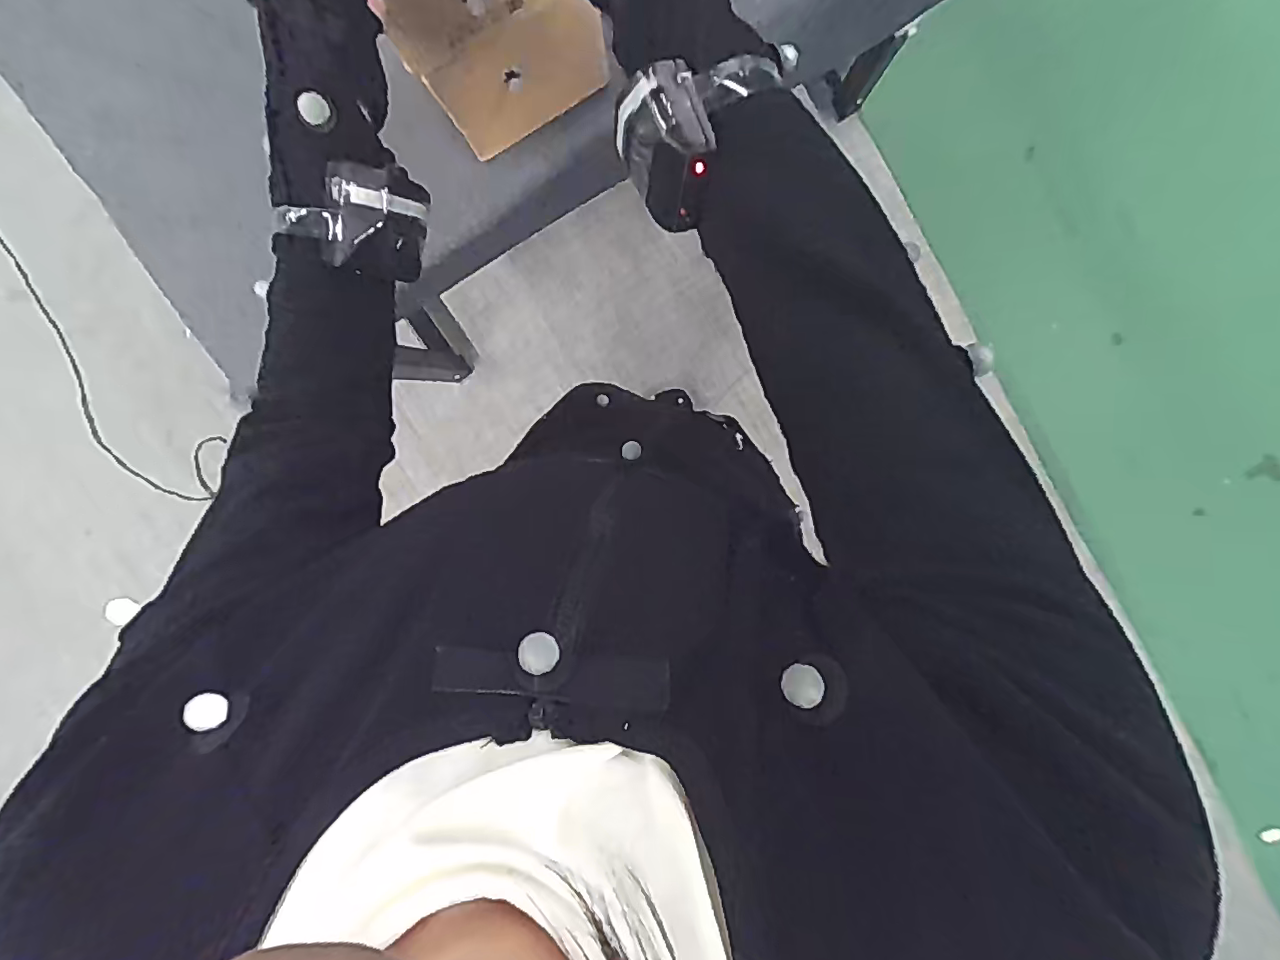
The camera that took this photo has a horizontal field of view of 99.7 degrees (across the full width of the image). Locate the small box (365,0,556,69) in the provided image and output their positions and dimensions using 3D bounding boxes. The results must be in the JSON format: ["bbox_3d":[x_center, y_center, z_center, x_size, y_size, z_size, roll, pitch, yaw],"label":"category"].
[{"bbox_3d":[-0.161,-0.448,0.370,0.168,0.176,0.179,-26,91,7],"label":"small box"}]

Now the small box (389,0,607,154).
[{"bbox_3d":[-0.151,-0.472,0.538,0.179,0.176,0.168,-29,95,7],"label":"small box"}]
